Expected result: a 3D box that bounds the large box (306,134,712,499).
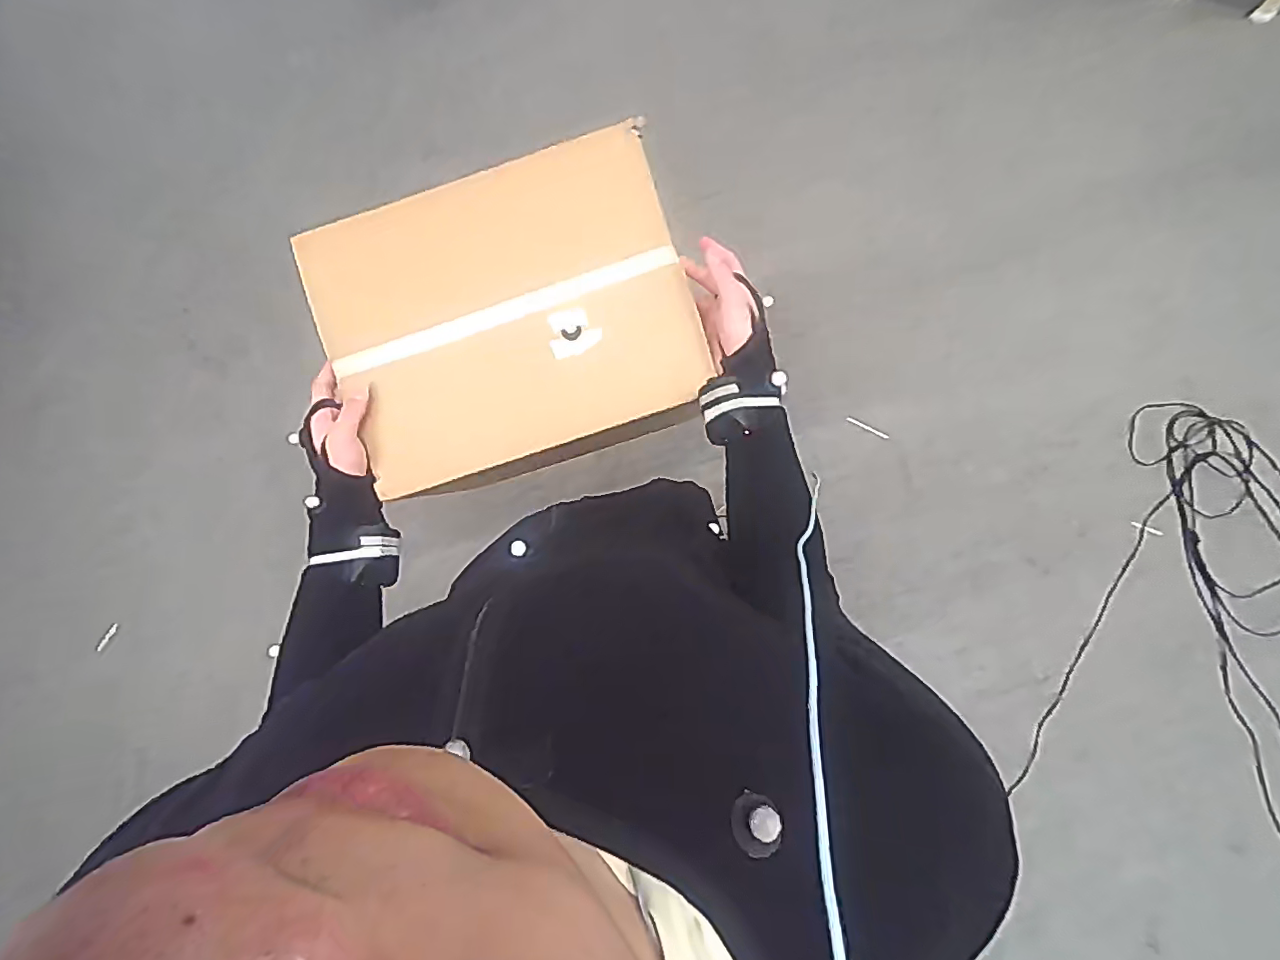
[{"bbox_3d":[-0.150,-0.185,0.764,0.408,0.320,0.320,-19,91,1],"label":"large box"}]
